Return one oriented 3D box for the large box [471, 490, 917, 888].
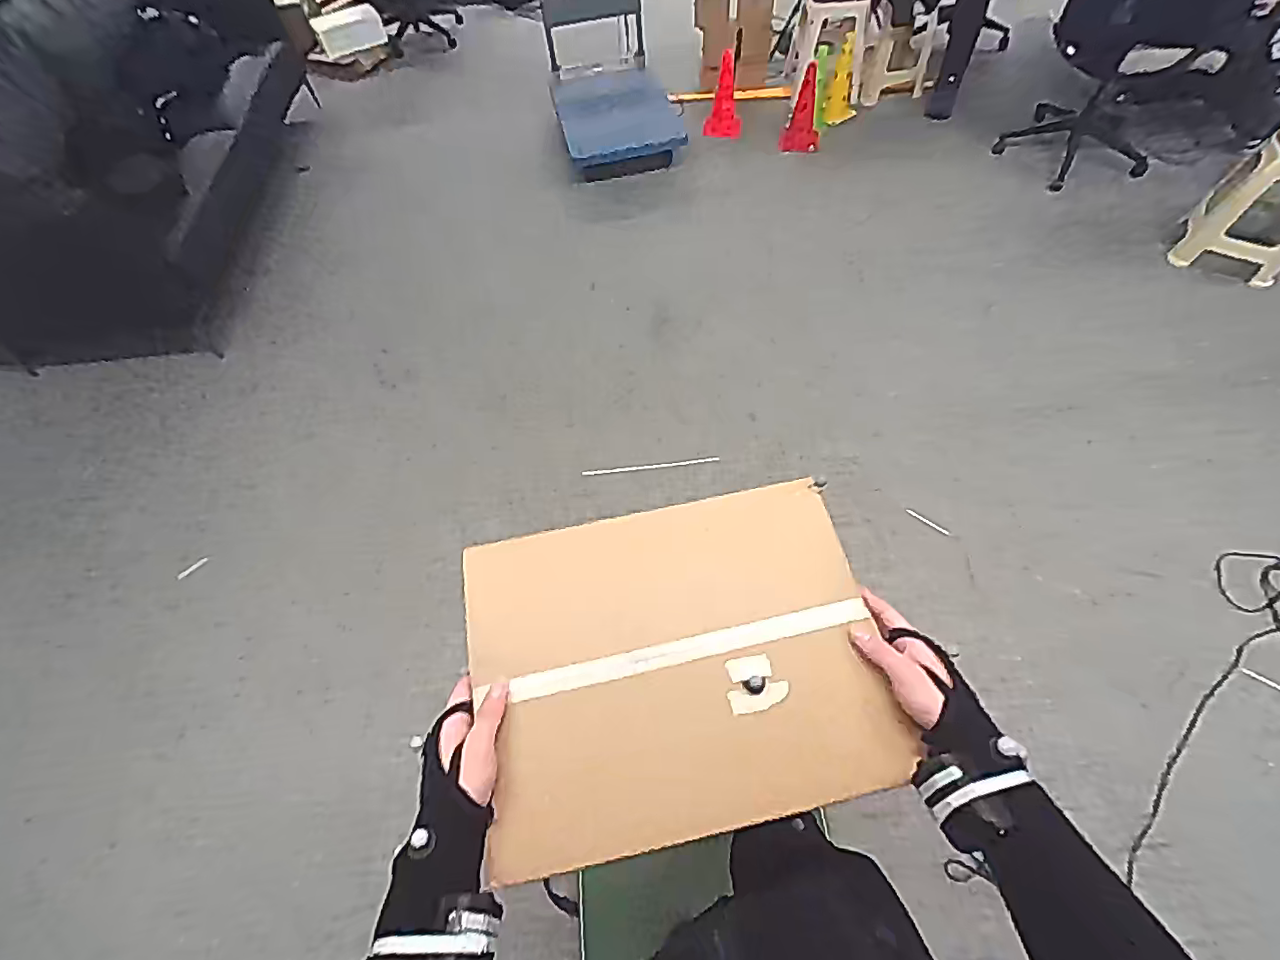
[{"bbox_3d":[0.037,0.254,0.687,0.408,0.320,0.320,-12,63,-5],"label":"large box"}]
